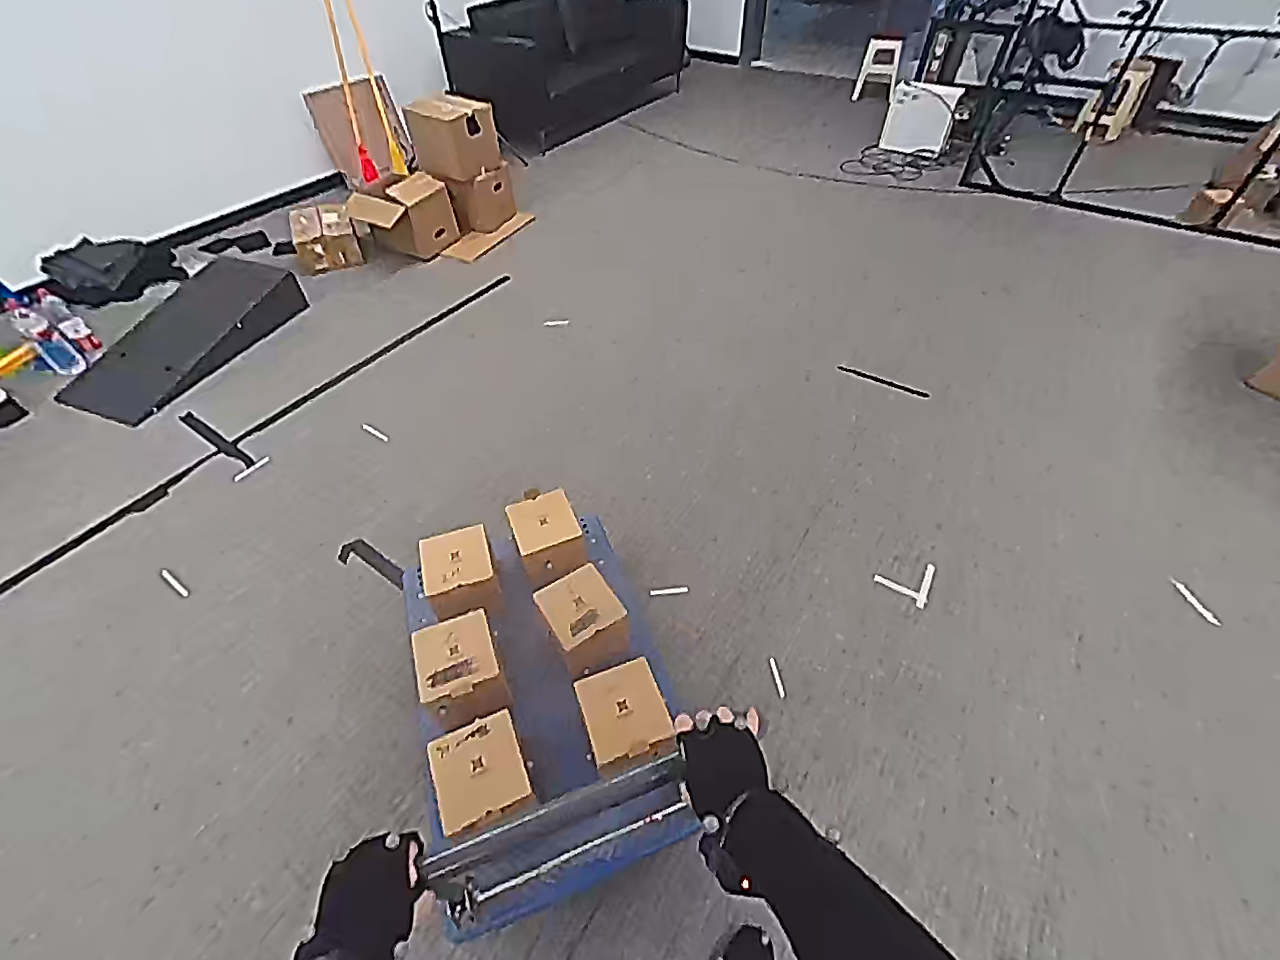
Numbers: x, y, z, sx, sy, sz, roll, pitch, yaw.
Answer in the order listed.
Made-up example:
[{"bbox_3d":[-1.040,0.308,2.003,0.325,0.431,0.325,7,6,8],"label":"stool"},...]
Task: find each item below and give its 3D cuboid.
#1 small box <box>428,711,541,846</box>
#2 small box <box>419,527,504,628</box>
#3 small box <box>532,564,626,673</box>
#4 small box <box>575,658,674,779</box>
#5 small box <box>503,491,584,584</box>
[{"bbox_3d":[-0.308,0.608,1.093,0.168,0.176,0.179,-19,51,-18],"label":"small box"},{"bbox_3d":[-0.463,0.255,1.410,0.168,0.176,0.179,-16,51,-13],"label":"small box"},{"bbox_3d":[-0.144,0.348,1.329,0.168,0.176,0.179,-27,53,-22],"label":"small box"},{"bbox_3d":[-0.034,0.523,1.174,0.168,0.176,0.179,-16,50,-15],"label":"small box"},{"bbox_3d":[-0.262,0.166,1.493,0.168,0.176,0.179,-19,51,-16],"label":"small box"}]
